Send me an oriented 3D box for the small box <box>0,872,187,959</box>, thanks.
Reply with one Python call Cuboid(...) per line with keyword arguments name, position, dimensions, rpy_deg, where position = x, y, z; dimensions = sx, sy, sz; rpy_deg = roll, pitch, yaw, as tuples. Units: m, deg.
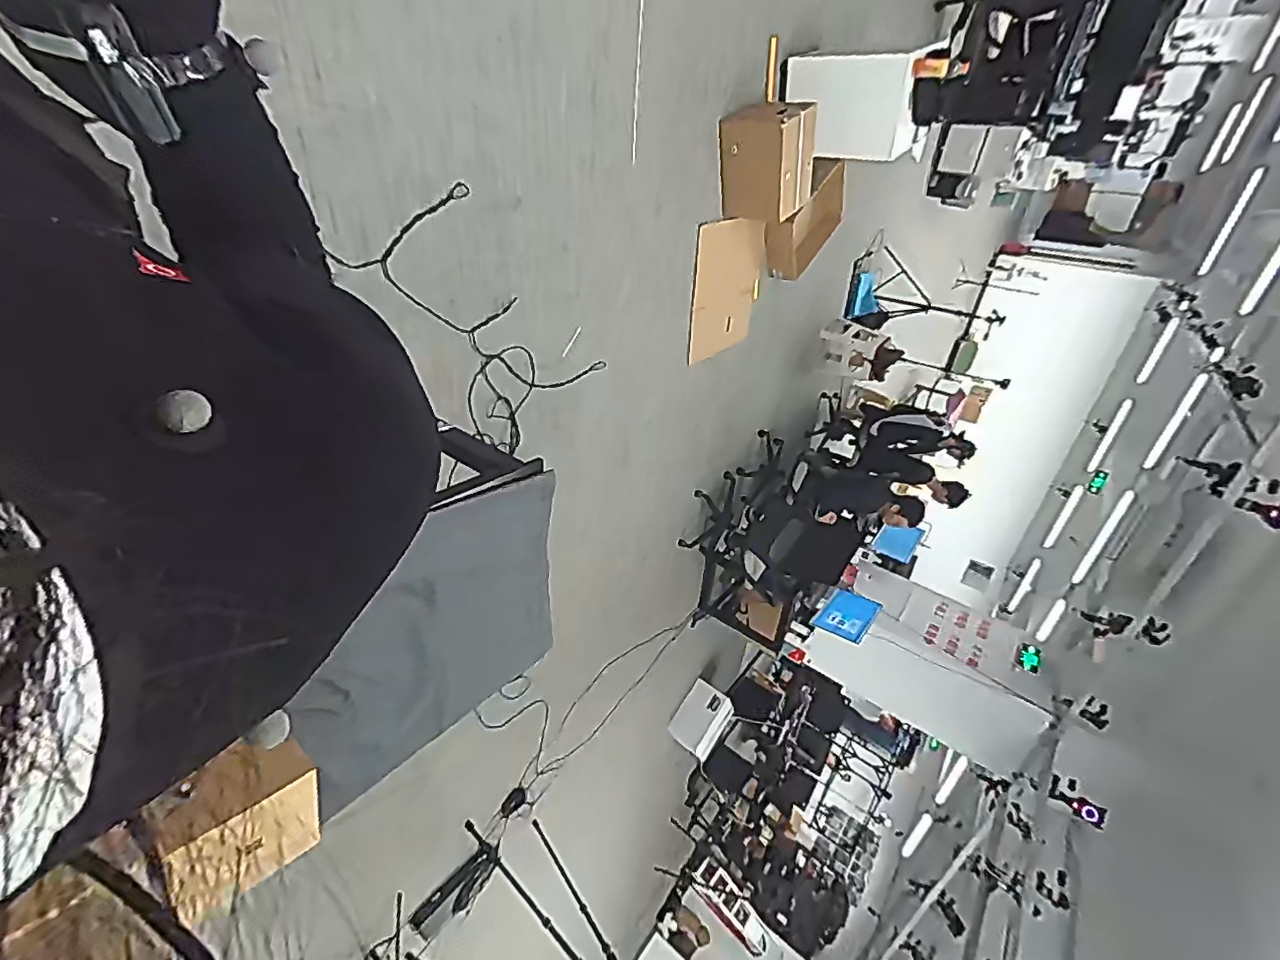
Cuboid(name="small box", position=(-0.584, 0.567, 0.556), dimensions=(0.179, 0.176, 0.168), rpy_deg=(-17, 125, -50))
